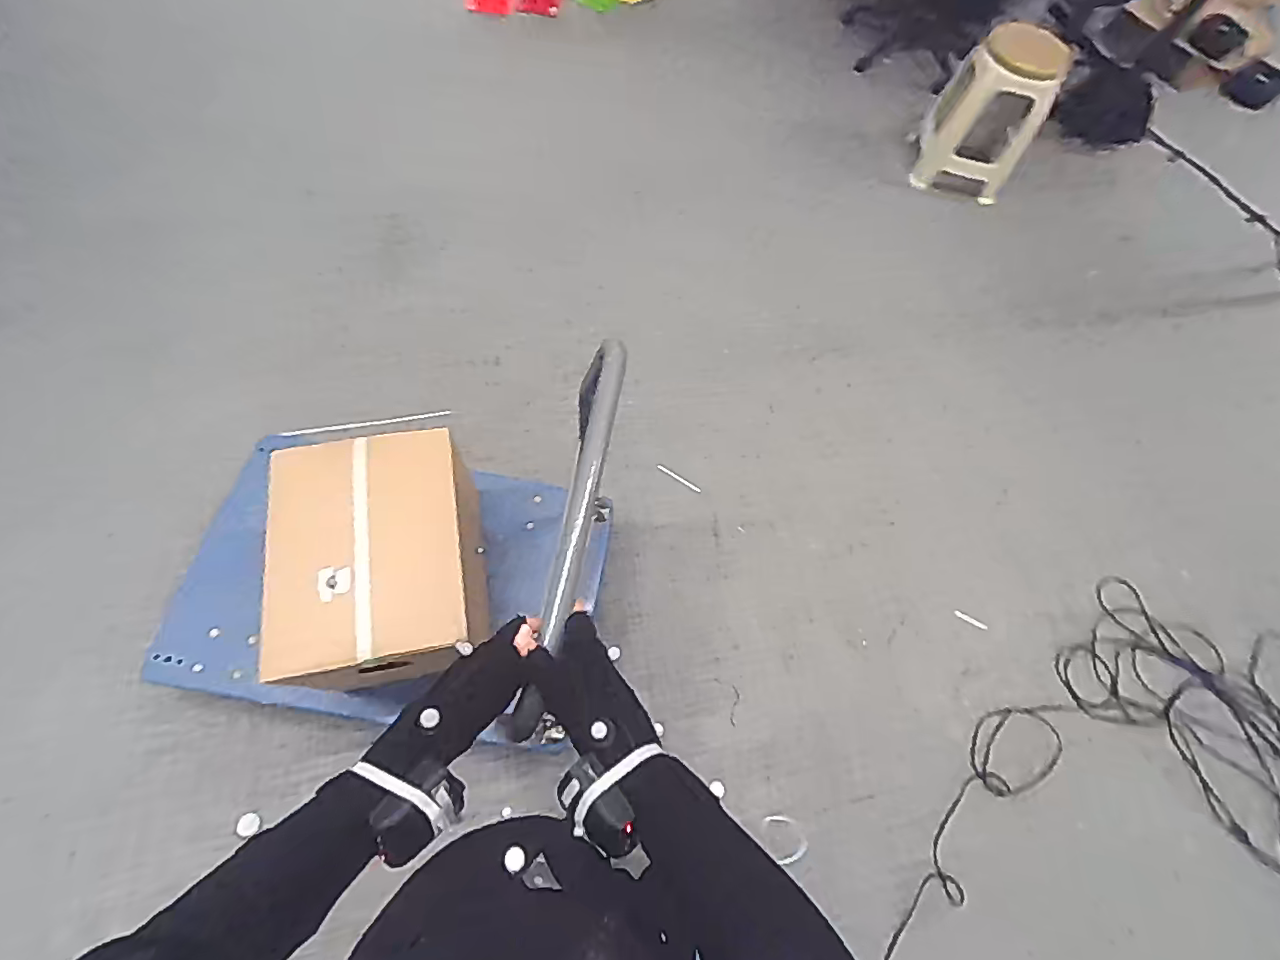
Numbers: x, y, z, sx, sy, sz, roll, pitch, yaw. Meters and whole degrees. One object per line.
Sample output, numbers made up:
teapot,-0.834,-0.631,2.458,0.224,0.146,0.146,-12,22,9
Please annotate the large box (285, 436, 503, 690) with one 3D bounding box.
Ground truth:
large box,-0.470,0.174,1.080,0.320,0.320,0.408,-10,68,-10
